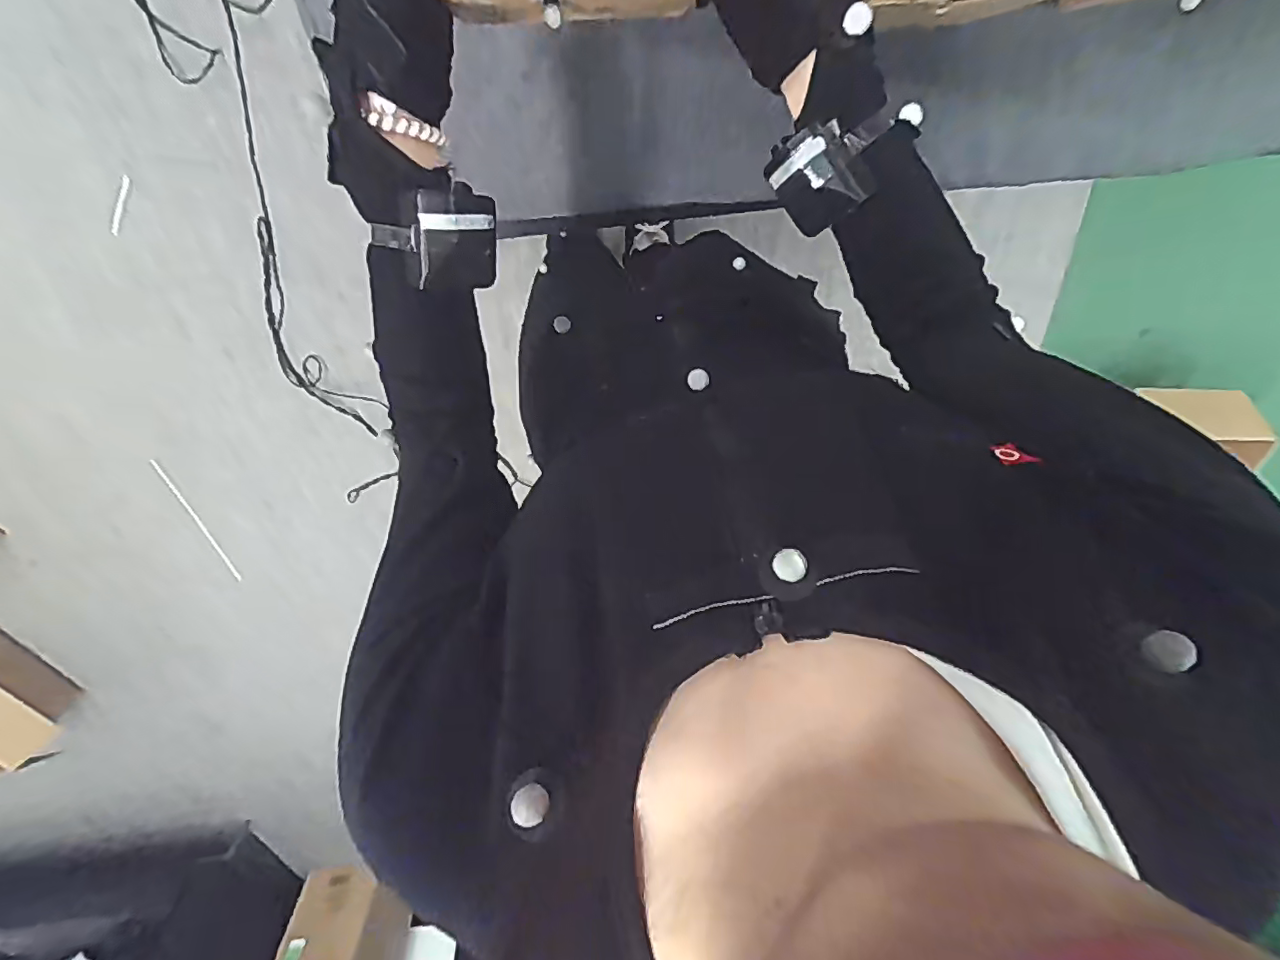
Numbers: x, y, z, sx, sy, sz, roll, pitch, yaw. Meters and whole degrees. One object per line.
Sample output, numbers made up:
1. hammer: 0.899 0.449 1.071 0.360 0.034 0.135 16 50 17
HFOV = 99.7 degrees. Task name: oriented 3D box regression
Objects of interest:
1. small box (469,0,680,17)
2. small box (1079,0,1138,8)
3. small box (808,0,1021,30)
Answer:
1. small box: -0.041 -0.366 0.275 0.168 0.176 0.179 -6 124 -4
2. small box: 0.474 -0.485 0.397 0.168 0.176 0.179 -6 123 2
3. small box: 0.233 -0.459 0.403 0.168 0.176 0.179 -5 122 0
